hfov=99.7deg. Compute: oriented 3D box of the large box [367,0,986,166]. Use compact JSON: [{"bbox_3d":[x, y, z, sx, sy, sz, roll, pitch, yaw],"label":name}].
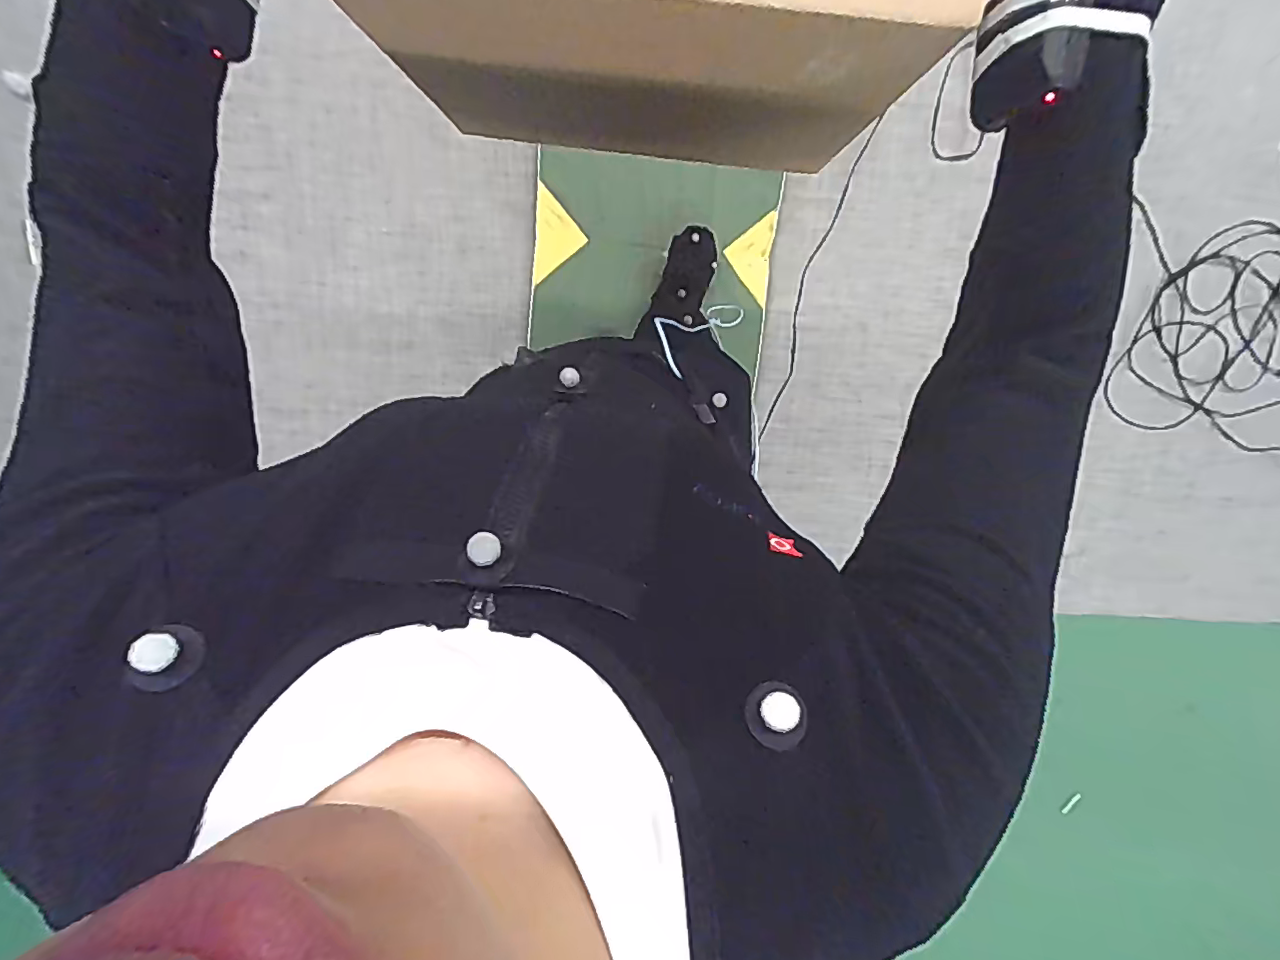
[{"bbox_3d":[0.021,-0.476,0.427,0.408,0.320,0.320,5,106,-2],"label":"large box"}]
